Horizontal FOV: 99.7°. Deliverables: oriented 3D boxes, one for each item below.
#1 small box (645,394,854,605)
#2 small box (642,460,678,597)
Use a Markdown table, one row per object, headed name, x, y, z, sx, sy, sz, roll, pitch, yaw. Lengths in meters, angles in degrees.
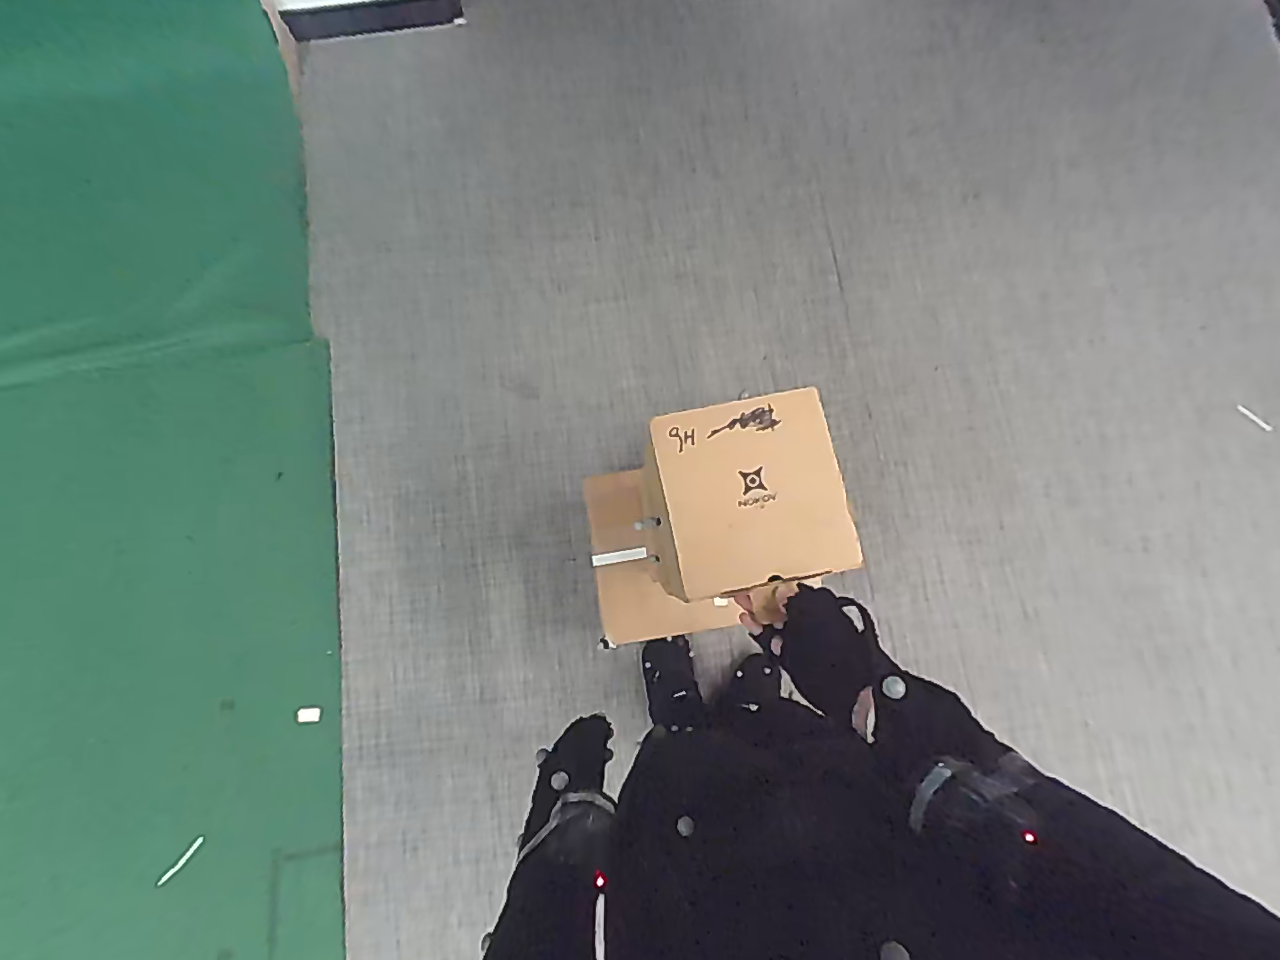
| name | x | y | z | sx | sy | sz | roll | pitch | yaw |
| --- | --- | --- | --- | --- | --- | --- | --- | --- | --- |
| small box | 0.102 | 0.027 | 0.583 | 0.168 | 0.176 | 0.179 | -11 | 81 | -3 |
| small box | 0.097 | 0.054 | 0.750 | 0.168 | 0.176 | 0.179 | -10 | 83 | -4 |
